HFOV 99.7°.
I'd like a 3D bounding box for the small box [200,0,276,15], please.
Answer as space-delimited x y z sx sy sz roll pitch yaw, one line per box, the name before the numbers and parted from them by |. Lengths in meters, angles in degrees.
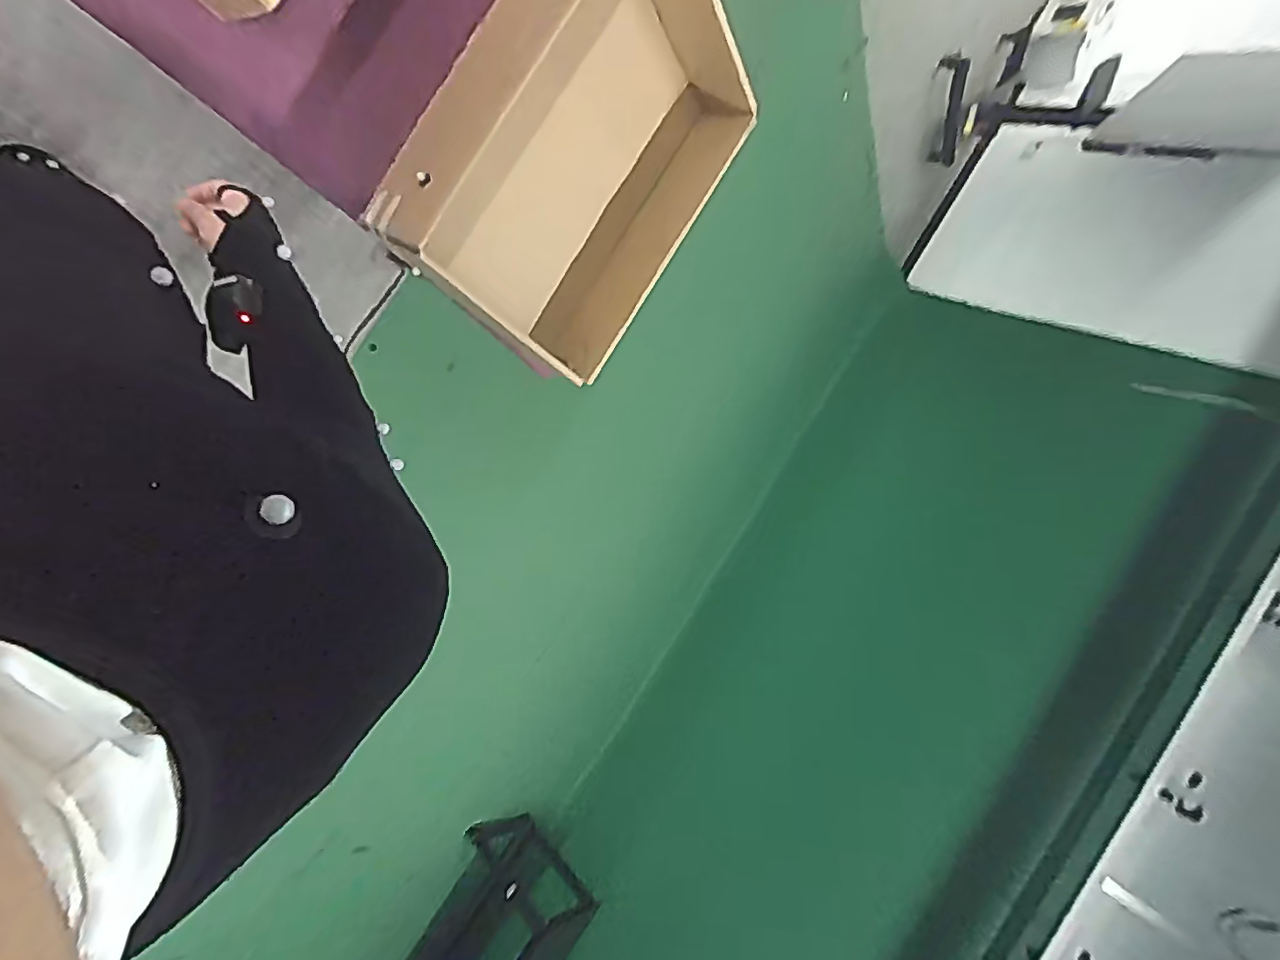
small box | -0.407 -0.580 0.500 0.179 0.176 0.168 -59 147 -2
